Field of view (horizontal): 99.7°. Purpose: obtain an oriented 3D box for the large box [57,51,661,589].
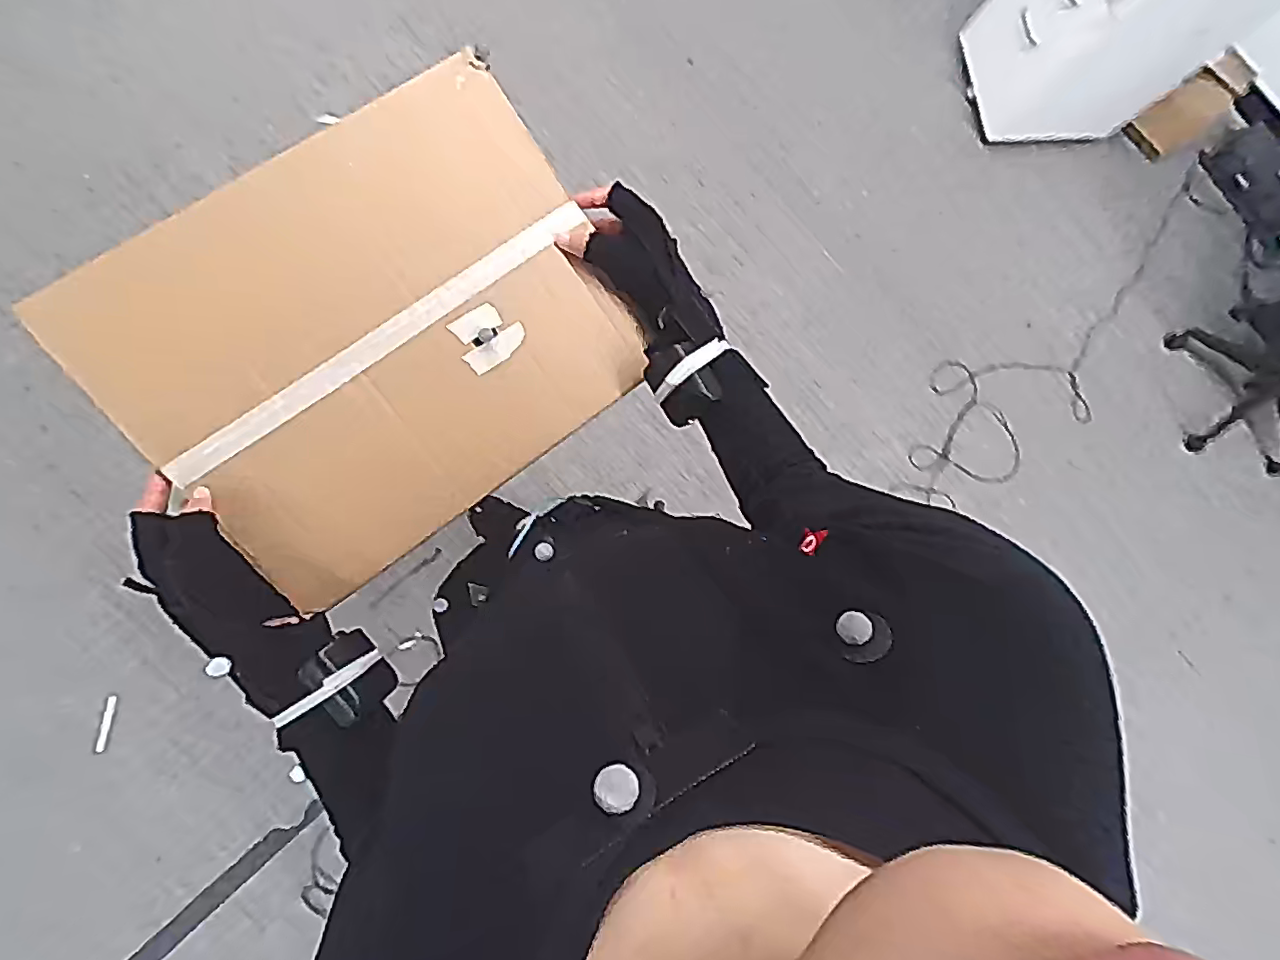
[{"bbox_3d":[-0.253,-0.150,0.621,0.408,0.320,0.320,-37,103,-9],"label":"large box"}]
